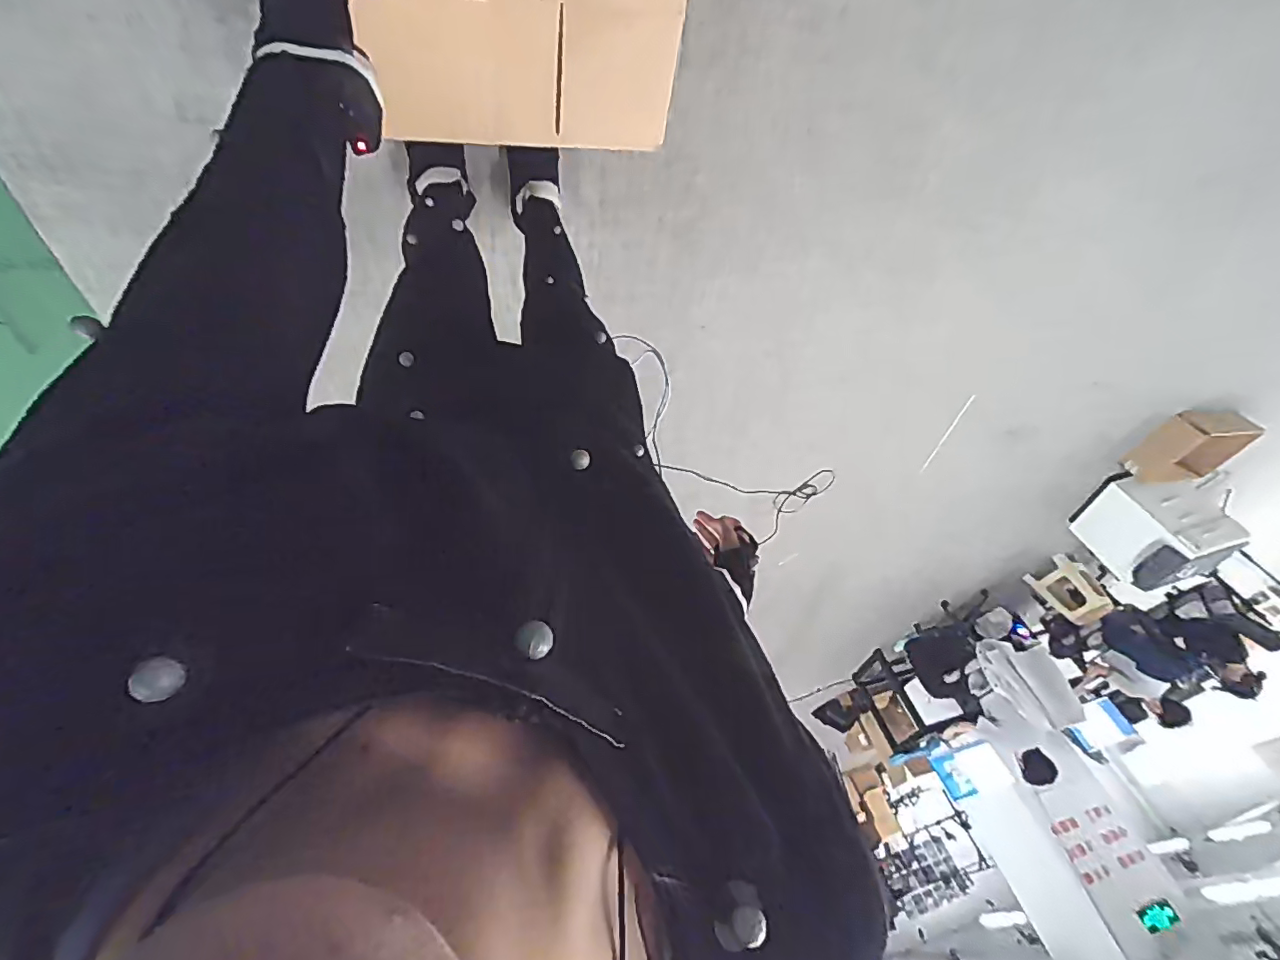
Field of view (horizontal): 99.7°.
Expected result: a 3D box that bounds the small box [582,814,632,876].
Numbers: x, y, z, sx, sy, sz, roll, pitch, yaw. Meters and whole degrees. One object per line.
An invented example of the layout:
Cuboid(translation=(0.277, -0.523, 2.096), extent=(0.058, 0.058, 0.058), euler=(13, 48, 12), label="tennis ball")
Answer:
Cuboid(translation=(-0.147, 1.539, 2.280), extent=(0.179, 0.176, 0.168), euler=(-9, 140, -15), label="small box")

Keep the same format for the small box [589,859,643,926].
Cuboid(translation=(-0.100, 1.662, 2.181), extent=(0.179, 0.176, 0.168), euler=(-10, 140, -15), label="small box")
